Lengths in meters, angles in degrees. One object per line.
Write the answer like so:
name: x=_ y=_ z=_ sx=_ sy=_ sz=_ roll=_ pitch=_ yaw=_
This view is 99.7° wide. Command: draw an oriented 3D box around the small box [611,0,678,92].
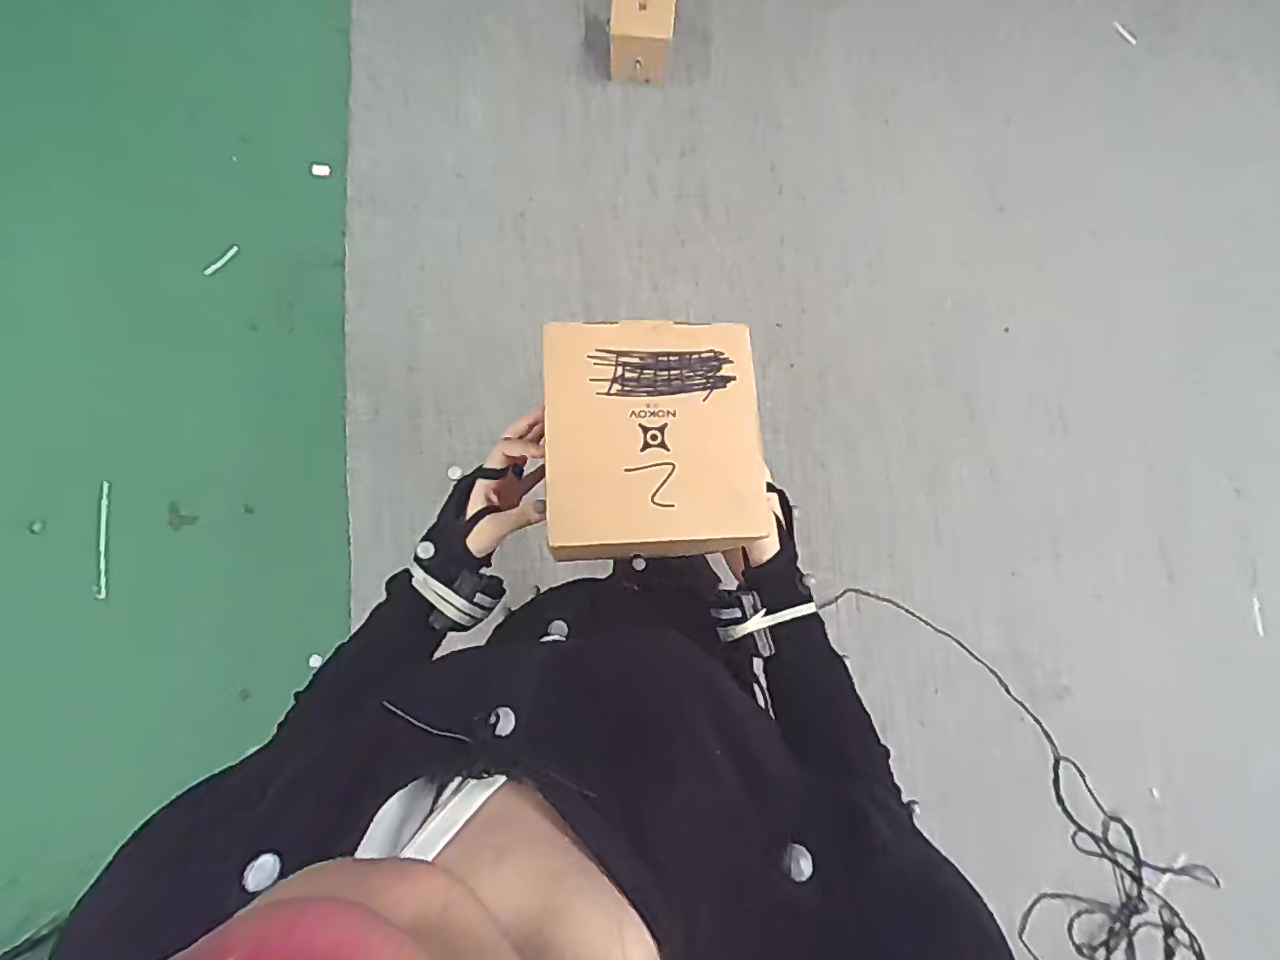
small box: x=0.013 y=-1.218 z=1.494 sx=0.168 sy=0.176 sz=0.179 roll=5 pitch=87 yaw=-1
